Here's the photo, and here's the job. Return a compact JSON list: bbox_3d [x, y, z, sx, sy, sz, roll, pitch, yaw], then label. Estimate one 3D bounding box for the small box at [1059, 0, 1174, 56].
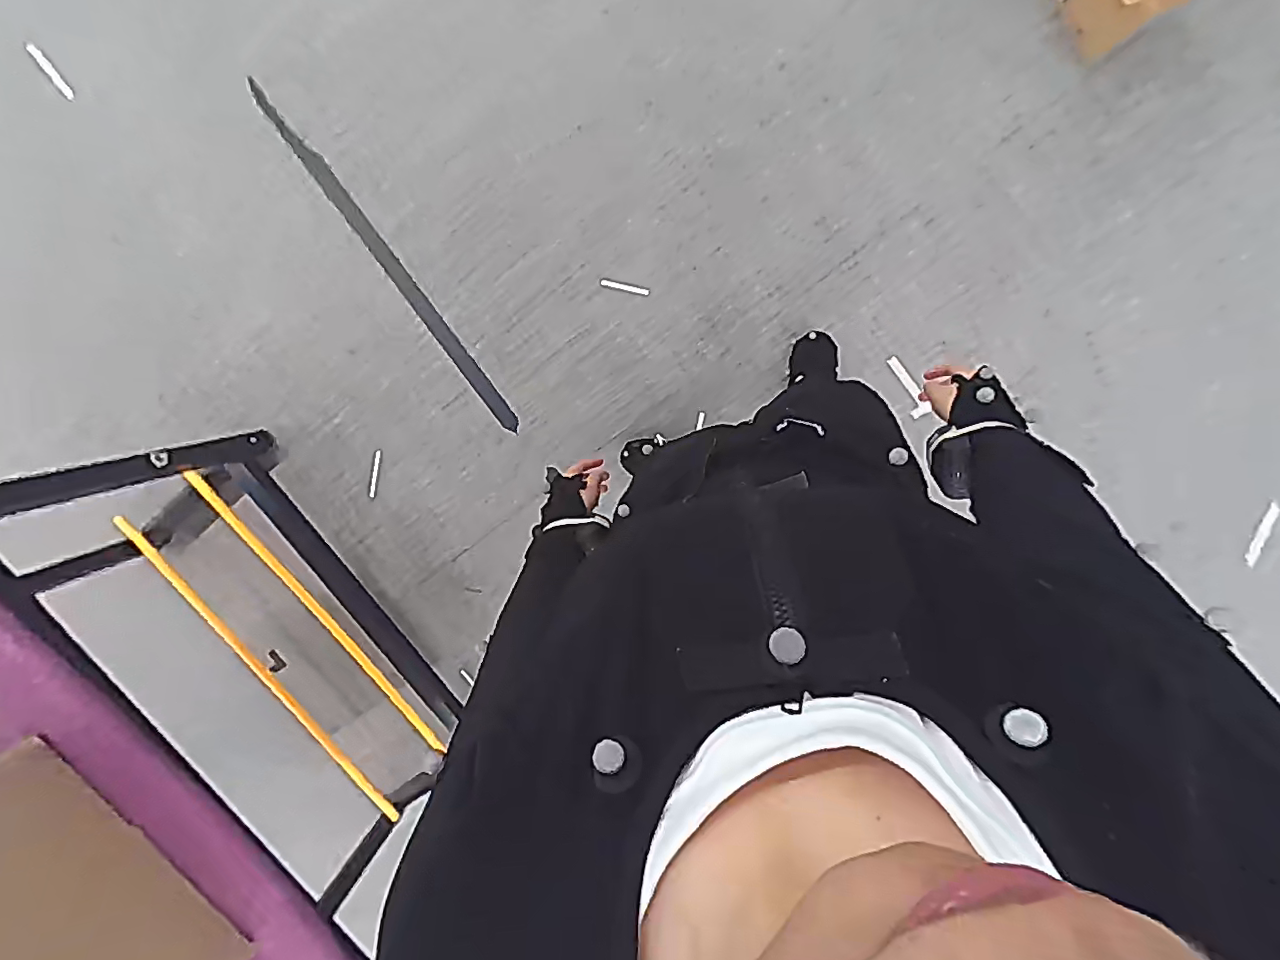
[{"bbox_3d":[0.907,-0.931,0.978,0.179,0.176,0.168,-34,97,13],"label":"small box"}]
